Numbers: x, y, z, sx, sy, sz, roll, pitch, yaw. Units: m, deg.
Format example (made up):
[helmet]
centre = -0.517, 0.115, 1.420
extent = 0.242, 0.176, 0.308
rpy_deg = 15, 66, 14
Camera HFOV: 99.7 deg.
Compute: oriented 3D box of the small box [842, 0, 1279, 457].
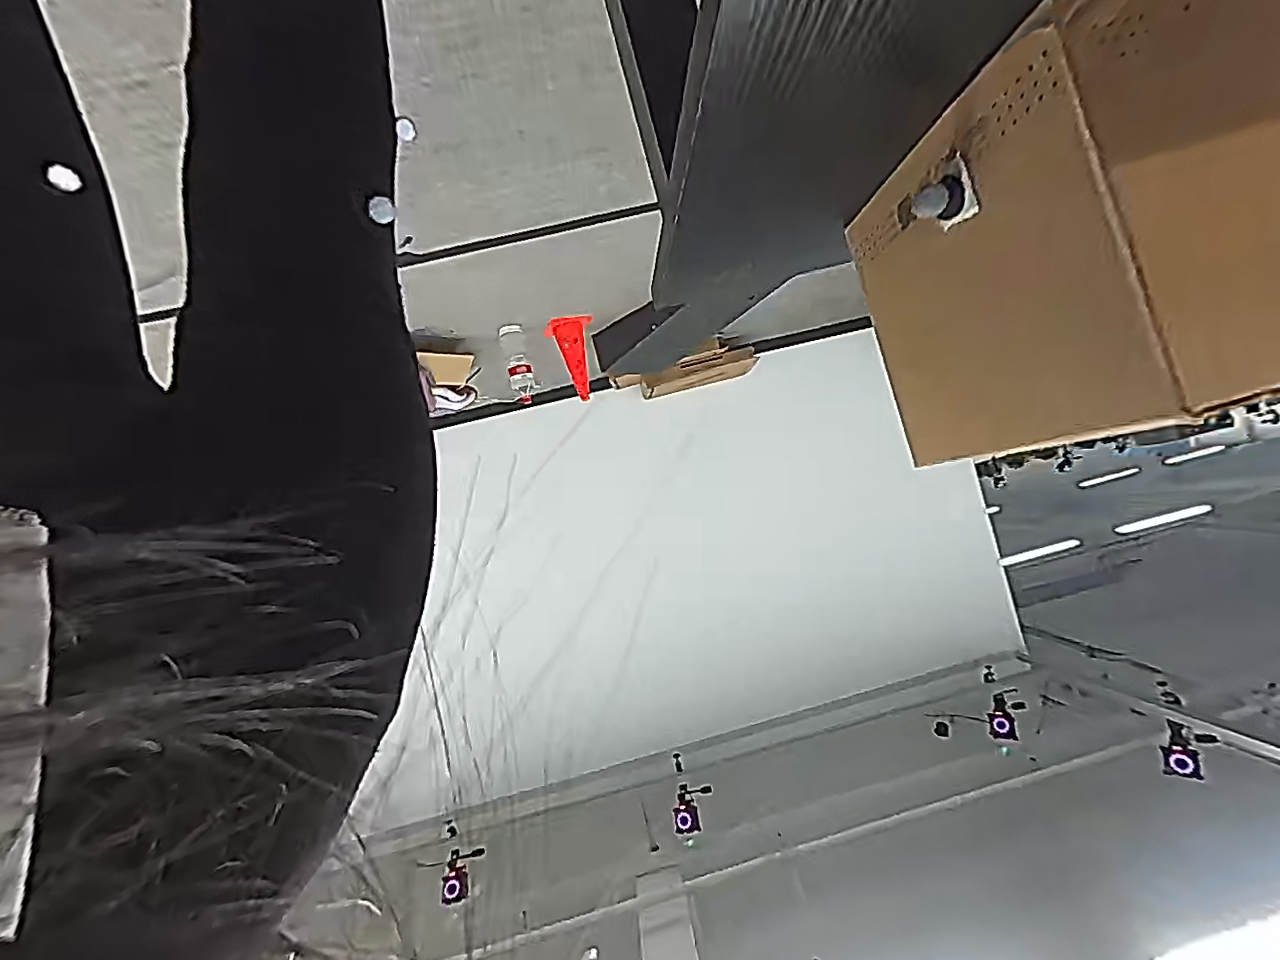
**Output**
[small box]
centre = 0.240, -0.122, 0.287
extent = 0.179, 0.176, 0.168
rpy_deg = -14, 176, -5
